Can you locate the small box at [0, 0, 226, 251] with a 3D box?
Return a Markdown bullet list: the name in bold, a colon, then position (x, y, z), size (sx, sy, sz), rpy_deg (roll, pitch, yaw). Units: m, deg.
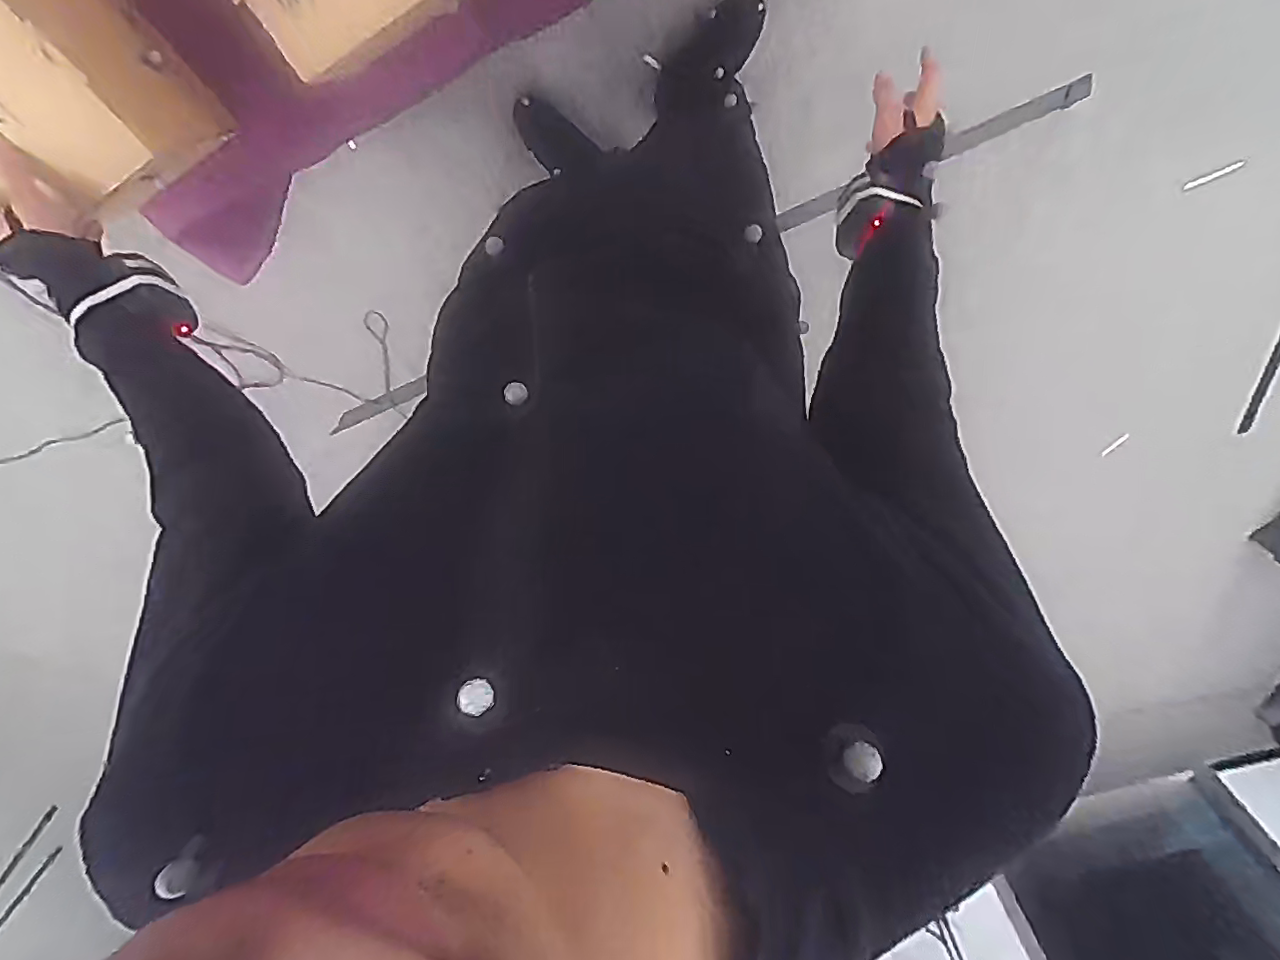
- **small box**: position (-0.546, -0.352, 0.505), size (0.179, 0.176, 0.168), rpy_deg (-26, 129, 12)
